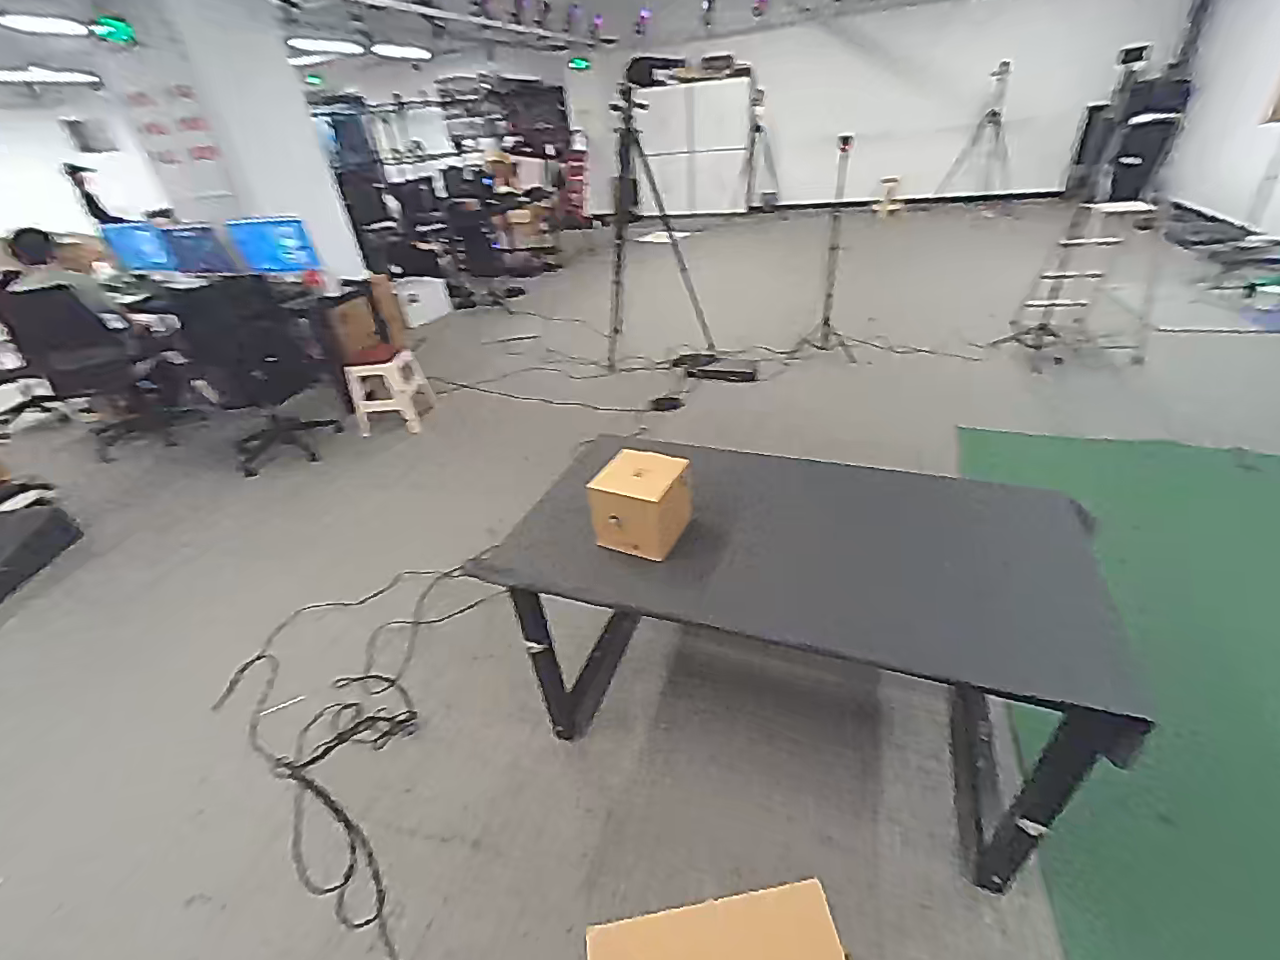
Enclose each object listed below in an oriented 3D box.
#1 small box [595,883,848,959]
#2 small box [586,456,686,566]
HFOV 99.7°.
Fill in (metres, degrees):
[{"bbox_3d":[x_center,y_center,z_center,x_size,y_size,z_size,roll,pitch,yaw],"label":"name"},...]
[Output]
[{"bbox_3d":[0.067,0.408,0.362,0.168,0.176,0.179,-10,42,0],"label":"small box"},{"bbox_3d":[0.001,0.069,1.226,0.168,0.176,0.179,11,35,24],"label":"small box"}]
